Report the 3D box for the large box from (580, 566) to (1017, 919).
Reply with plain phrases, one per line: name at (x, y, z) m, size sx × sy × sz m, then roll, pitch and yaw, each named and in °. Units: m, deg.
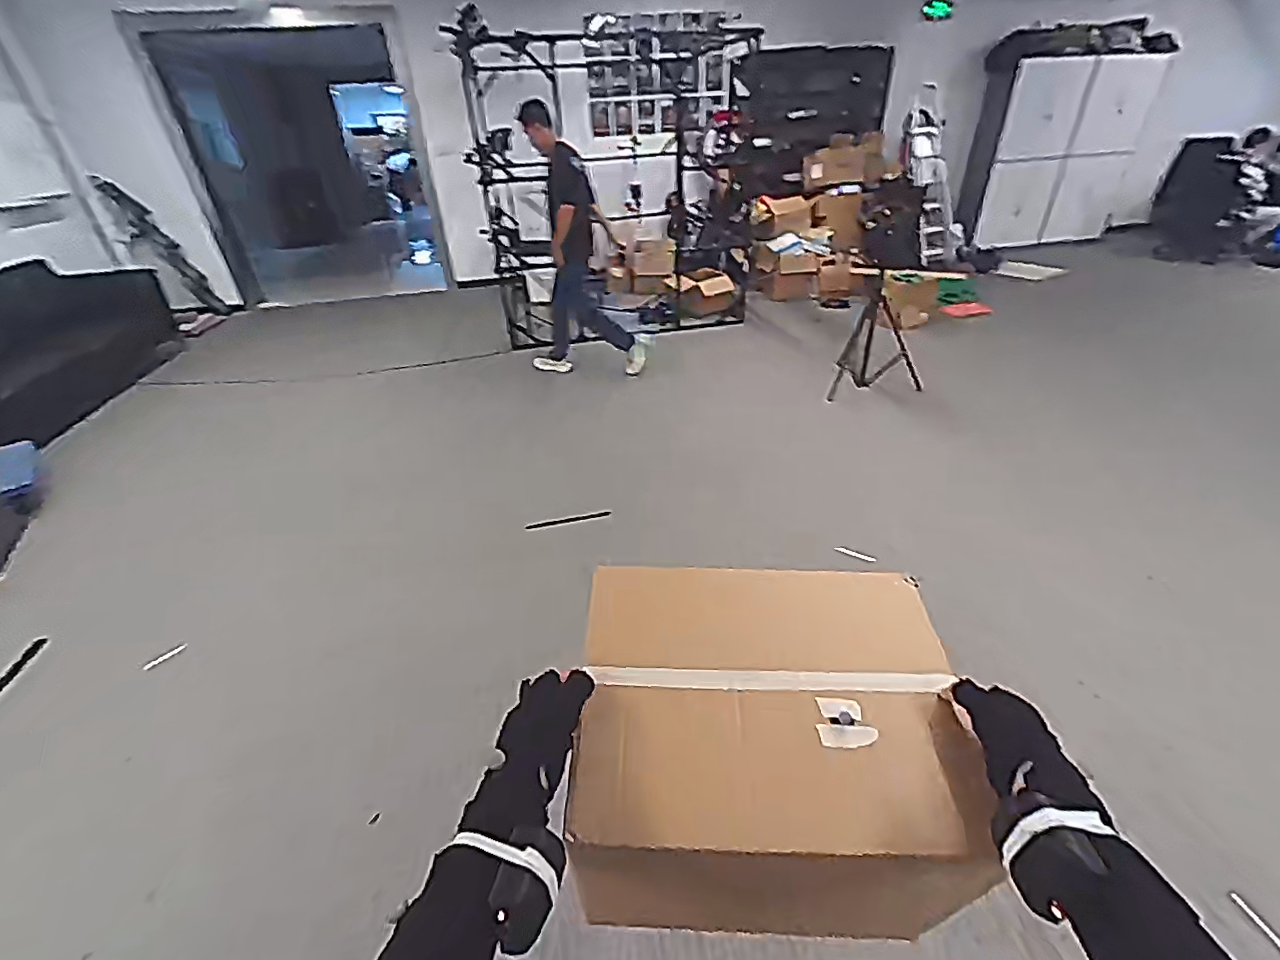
large box at (0.143, 0.330, 0.693) m, size 0.408 × 0.320 × 0.320 m, roll 2°, pitch 41°, yaw 2°
